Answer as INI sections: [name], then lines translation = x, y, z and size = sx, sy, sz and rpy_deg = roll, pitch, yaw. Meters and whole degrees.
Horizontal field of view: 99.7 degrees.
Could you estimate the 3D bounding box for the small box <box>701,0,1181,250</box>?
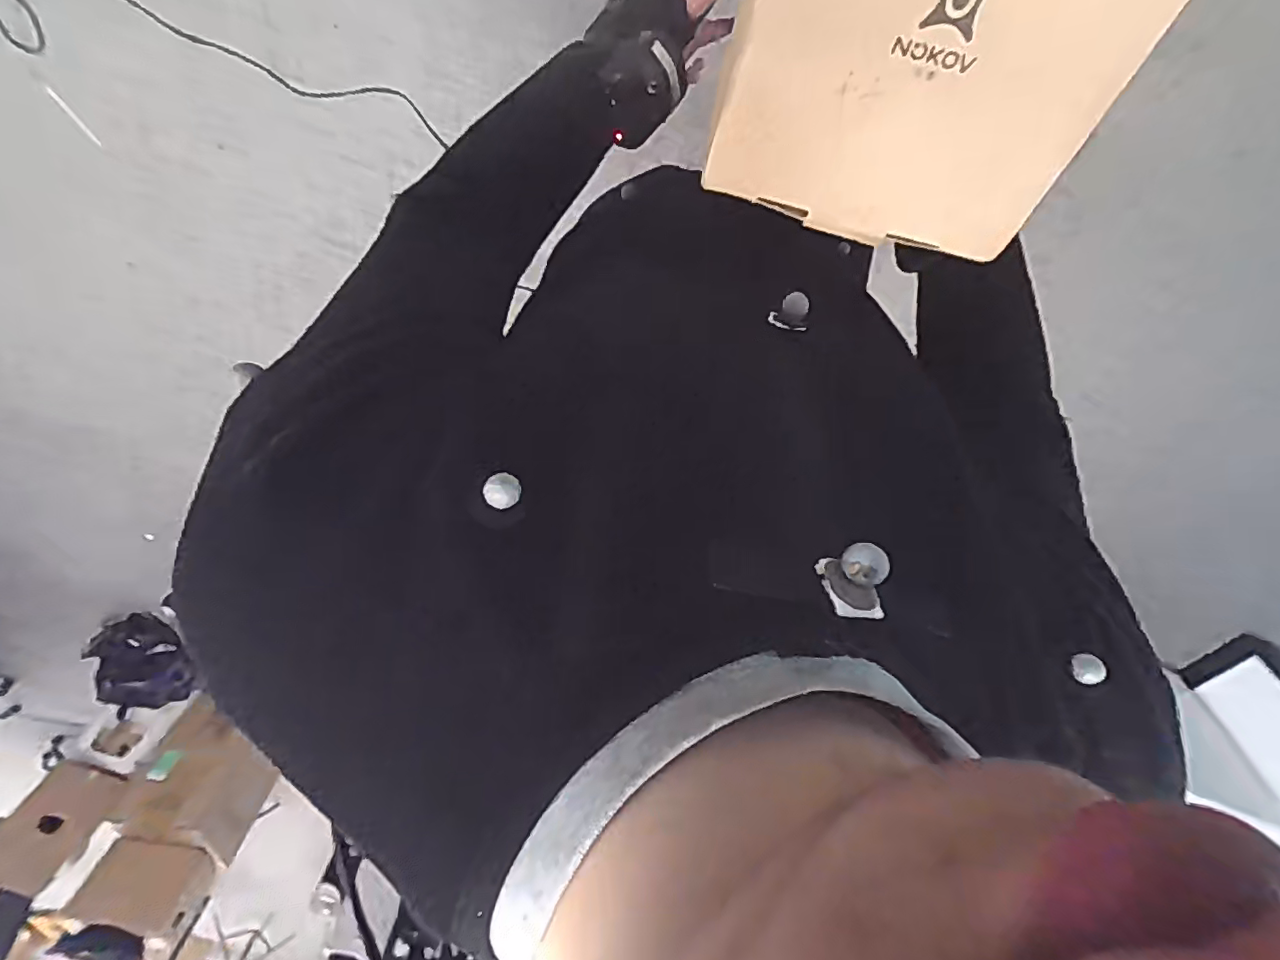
[small box]
translation = 0.139, -0.255, 0.269
size = 0.168, 0.176, 0.179
rpy_deg = 13, 143, -2
